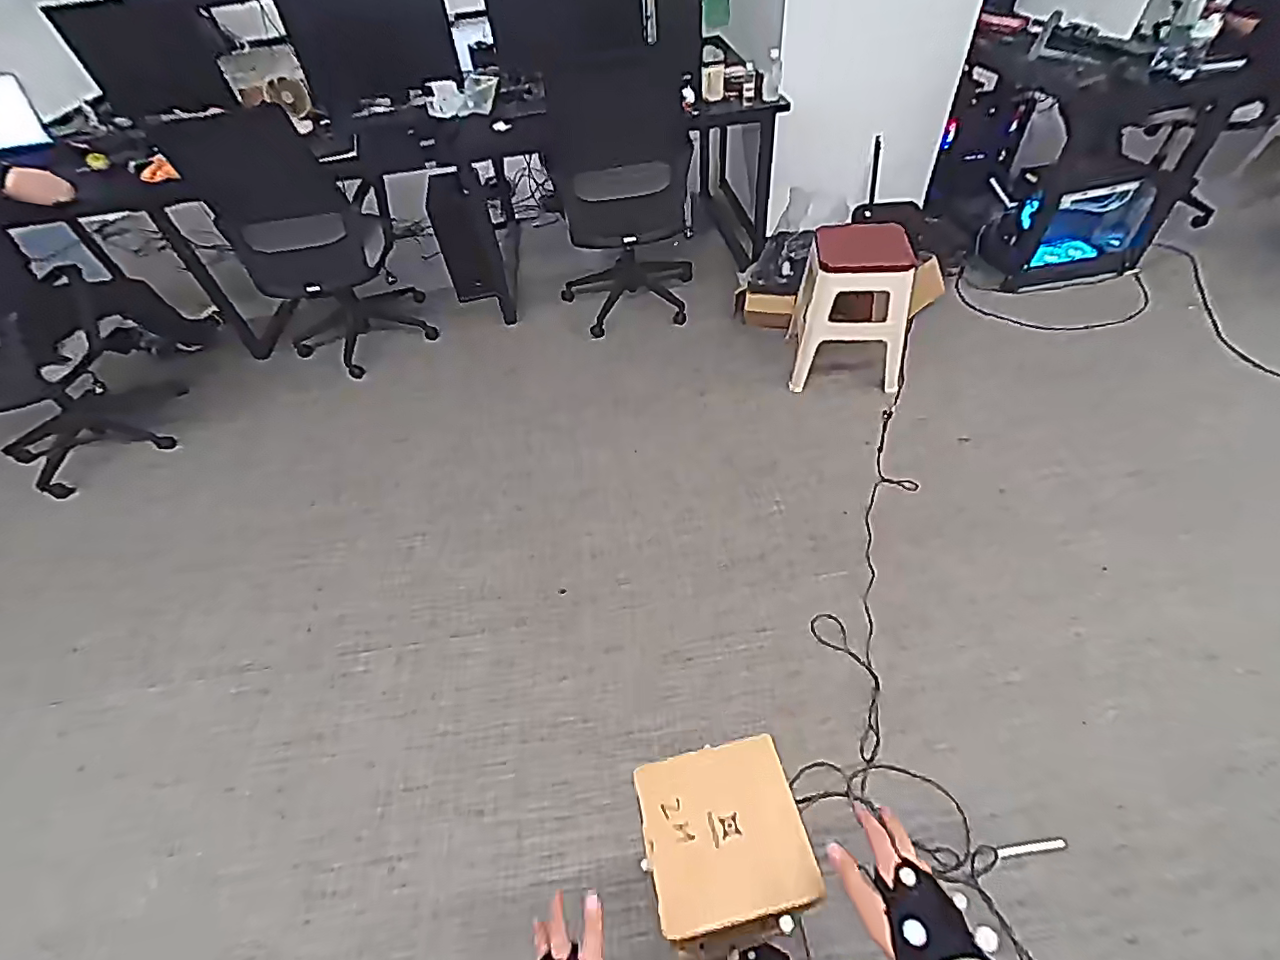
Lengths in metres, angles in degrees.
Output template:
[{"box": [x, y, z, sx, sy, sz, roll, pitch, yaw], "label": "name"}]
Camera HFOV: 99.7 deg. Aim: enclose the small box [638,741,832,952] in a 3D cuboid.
[{"box": [0.104, 0.443, 0.653, 0.179, 0.176, 0.168, -13, 47, -3], "label": "small box"}]
